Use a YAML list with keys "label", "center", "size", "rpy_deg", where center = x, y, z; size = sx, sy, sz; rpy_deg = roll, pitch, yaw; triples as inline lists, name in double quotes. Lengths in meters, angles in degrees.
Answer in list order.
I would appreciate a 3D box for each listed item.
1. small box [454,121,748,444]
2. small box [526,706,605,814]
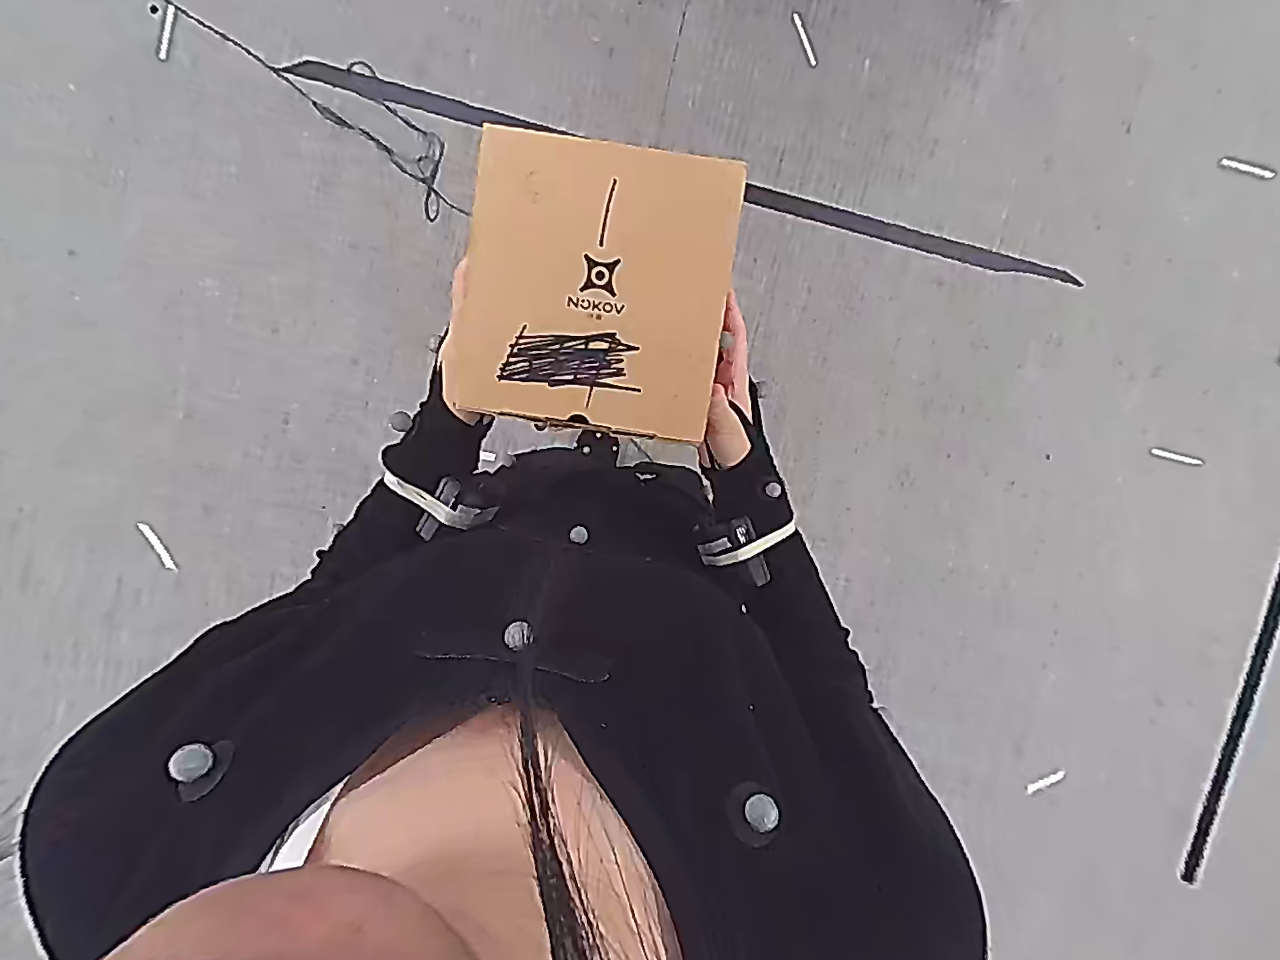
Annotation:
- label: "small box"
  center: [-0.026, -0.129, 0.417]
  size: [0.168, 0.176, 0.179]
  rpy_deg: [9, 96, -1]
- label: "small box"
  center: [-0.193, 0.748, 1.459]
  size: [0.168, 0.176, 0.179]
  rpy_deg: [16, 93, -4]
